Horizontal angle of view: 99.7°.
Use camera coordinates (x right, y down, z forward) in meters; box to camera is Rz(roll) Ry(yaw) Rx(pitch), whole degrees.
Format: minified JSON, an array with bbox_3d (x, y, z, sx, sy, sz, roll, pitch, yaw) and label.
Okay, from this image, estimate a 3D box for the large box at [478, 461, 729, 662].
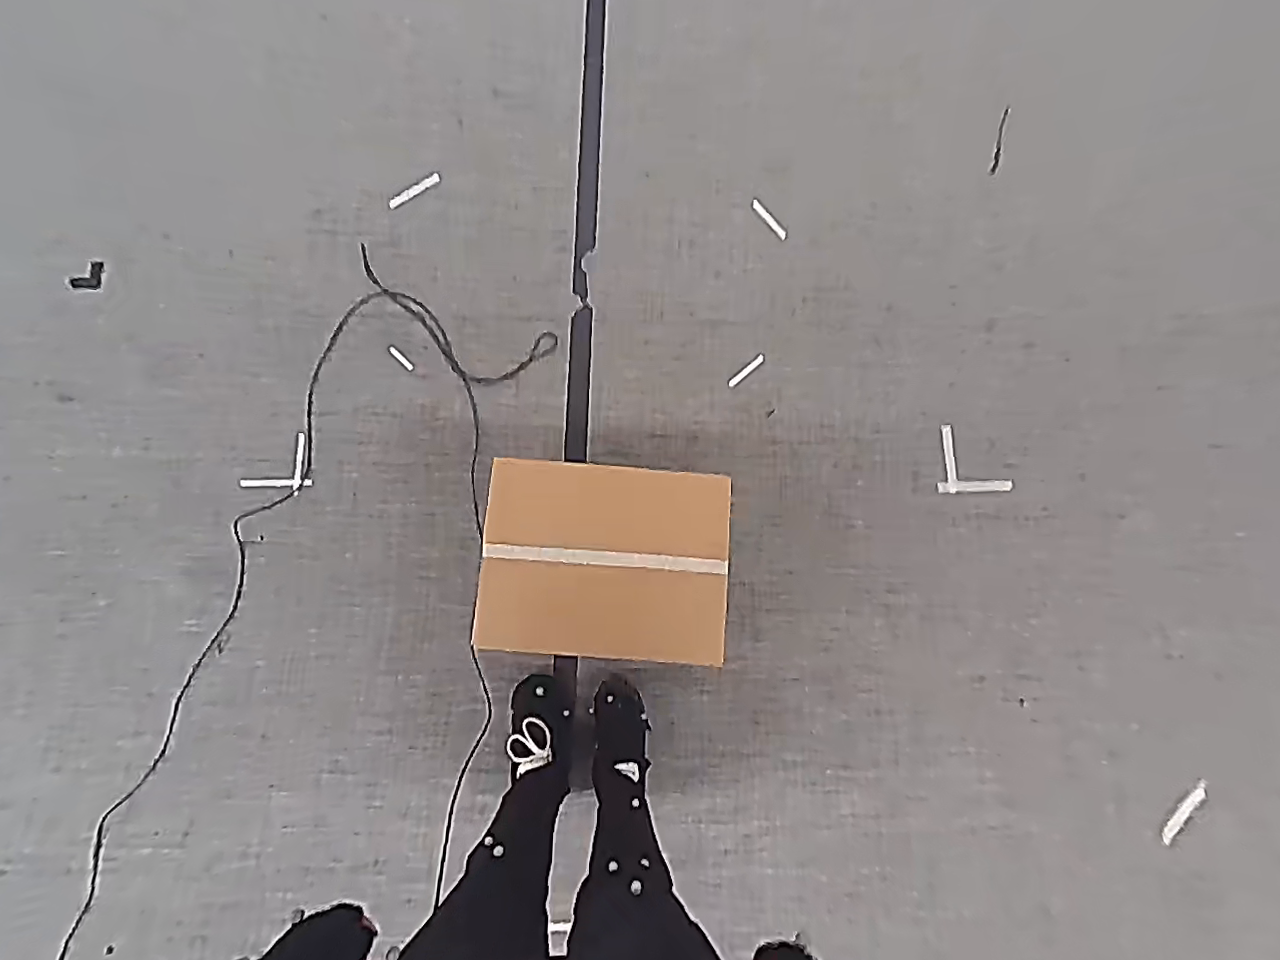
[{"bbox_3d":[-0.062,0.157,1.038,0.408,0.320,0.320,5,81,-2],"label":"large box"}]
